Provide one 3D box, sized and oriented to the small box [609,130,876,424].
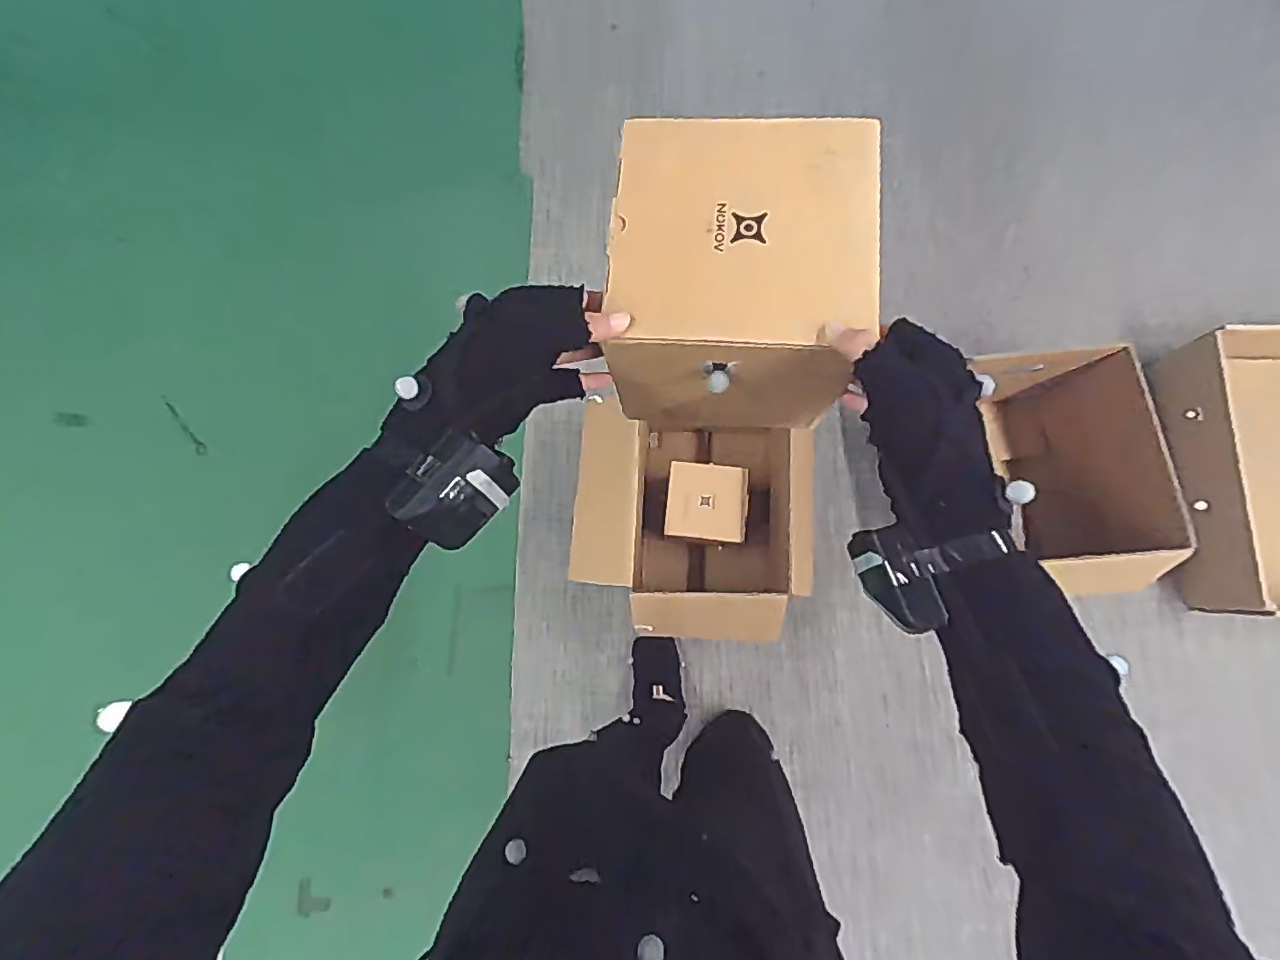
[{"bbox_3d":[0.078,-0.151,0.448,0.179,0.176,0.168,4,78,6],"label":"small box"}]
